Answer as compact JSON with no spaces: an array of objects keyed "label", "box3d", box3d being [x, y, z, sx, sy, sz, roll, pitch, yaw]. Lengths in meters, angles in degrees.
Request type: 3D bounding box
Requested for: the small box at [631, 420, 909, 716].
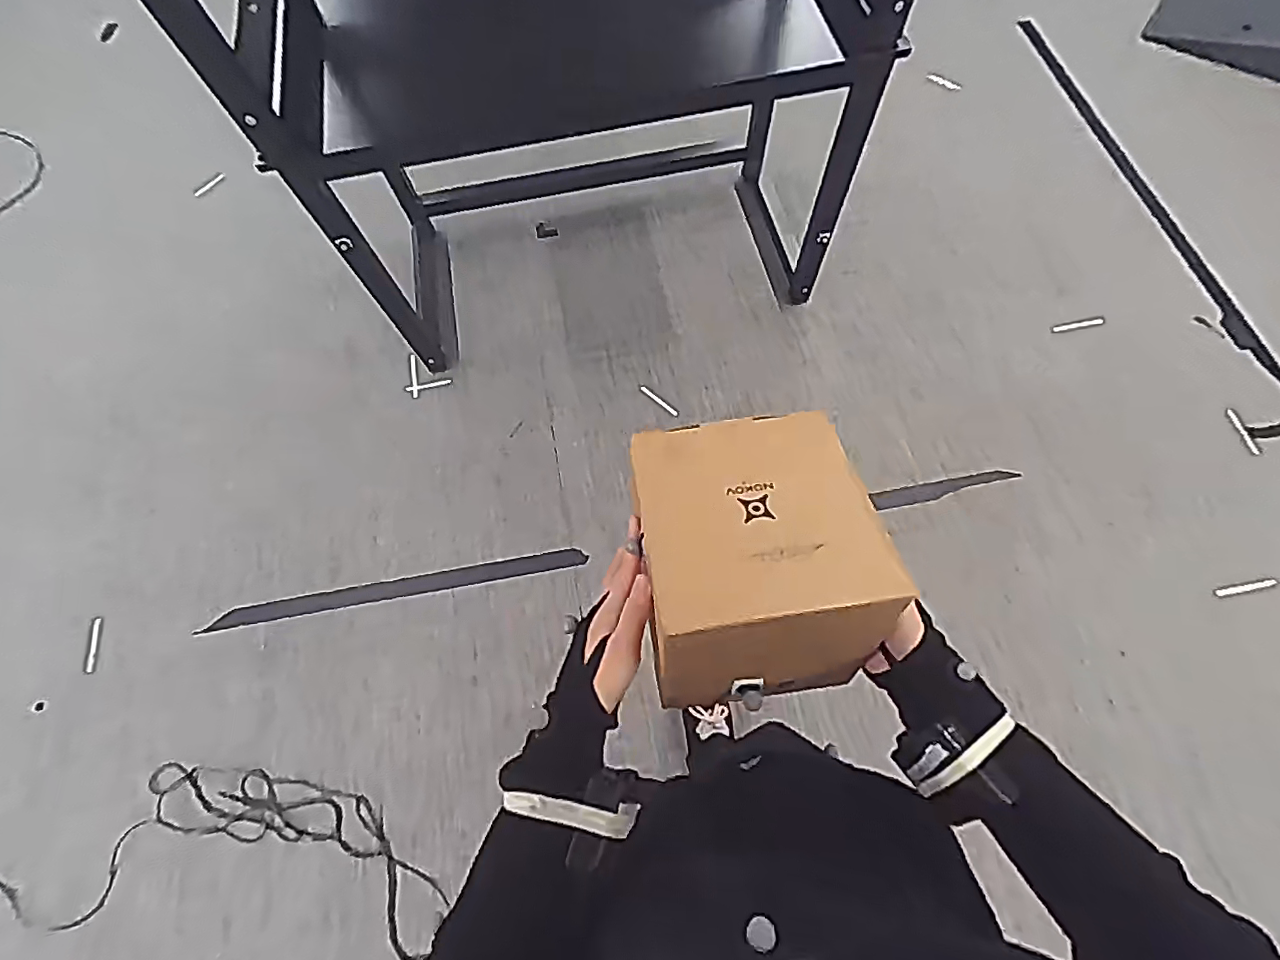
[{"label":"small box","box3d":[0.086,0.076,0.458,0.168,0.176,0.179,-8,51,-3]}]
